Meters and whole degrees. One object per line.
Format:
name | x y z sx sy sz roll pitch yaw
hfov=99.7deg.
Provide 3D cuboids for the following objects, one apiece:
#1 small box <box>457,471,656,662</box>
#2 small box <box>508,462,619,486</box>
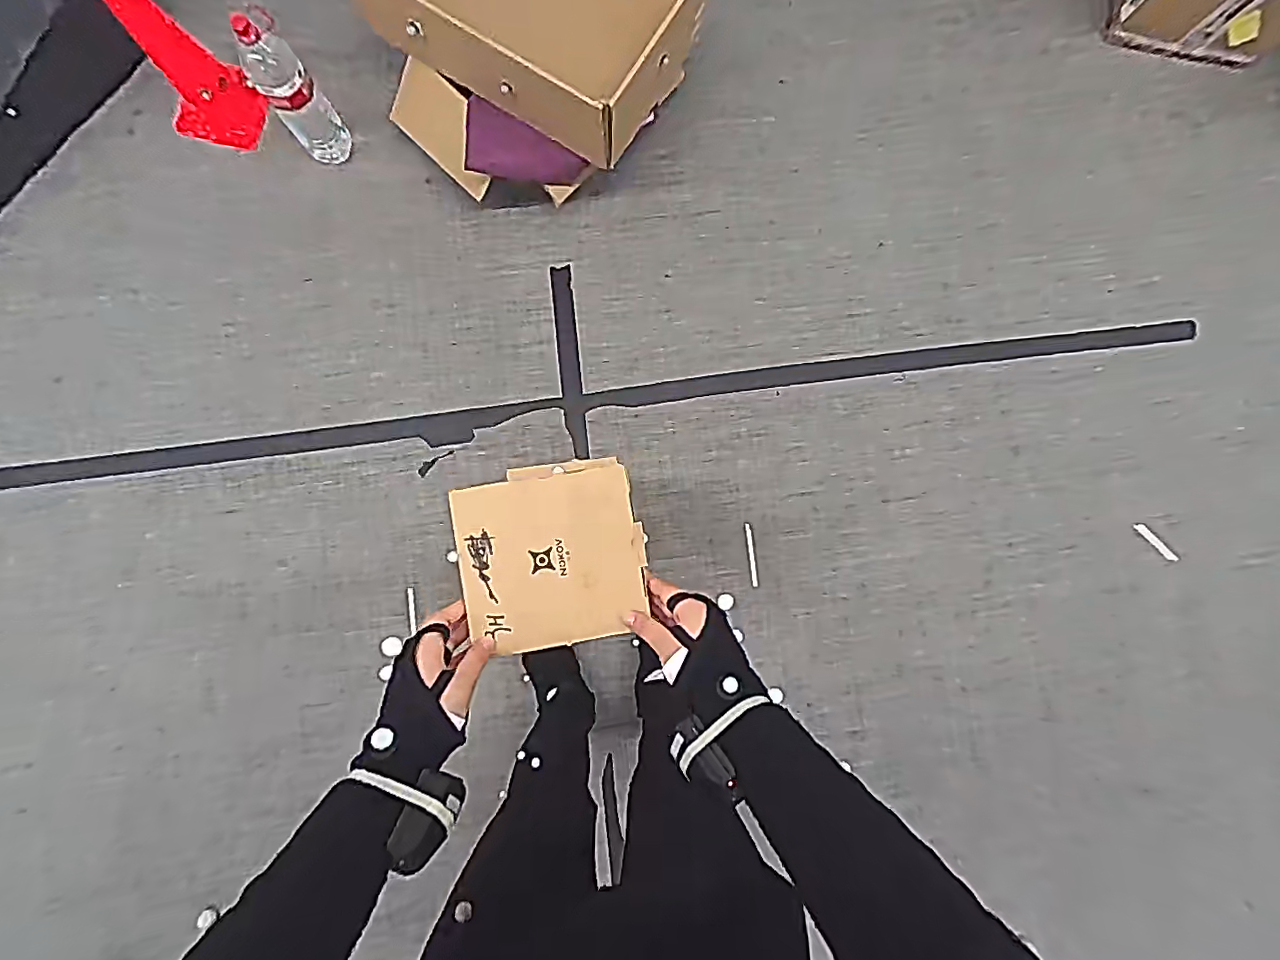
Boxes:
small box | -0.089 0.086 0.606 0.179 0.176 0.168 -9 87 -6
small box | -0.108 0.073 0.870 0.168 0.176 0.179 -7 85 -4
